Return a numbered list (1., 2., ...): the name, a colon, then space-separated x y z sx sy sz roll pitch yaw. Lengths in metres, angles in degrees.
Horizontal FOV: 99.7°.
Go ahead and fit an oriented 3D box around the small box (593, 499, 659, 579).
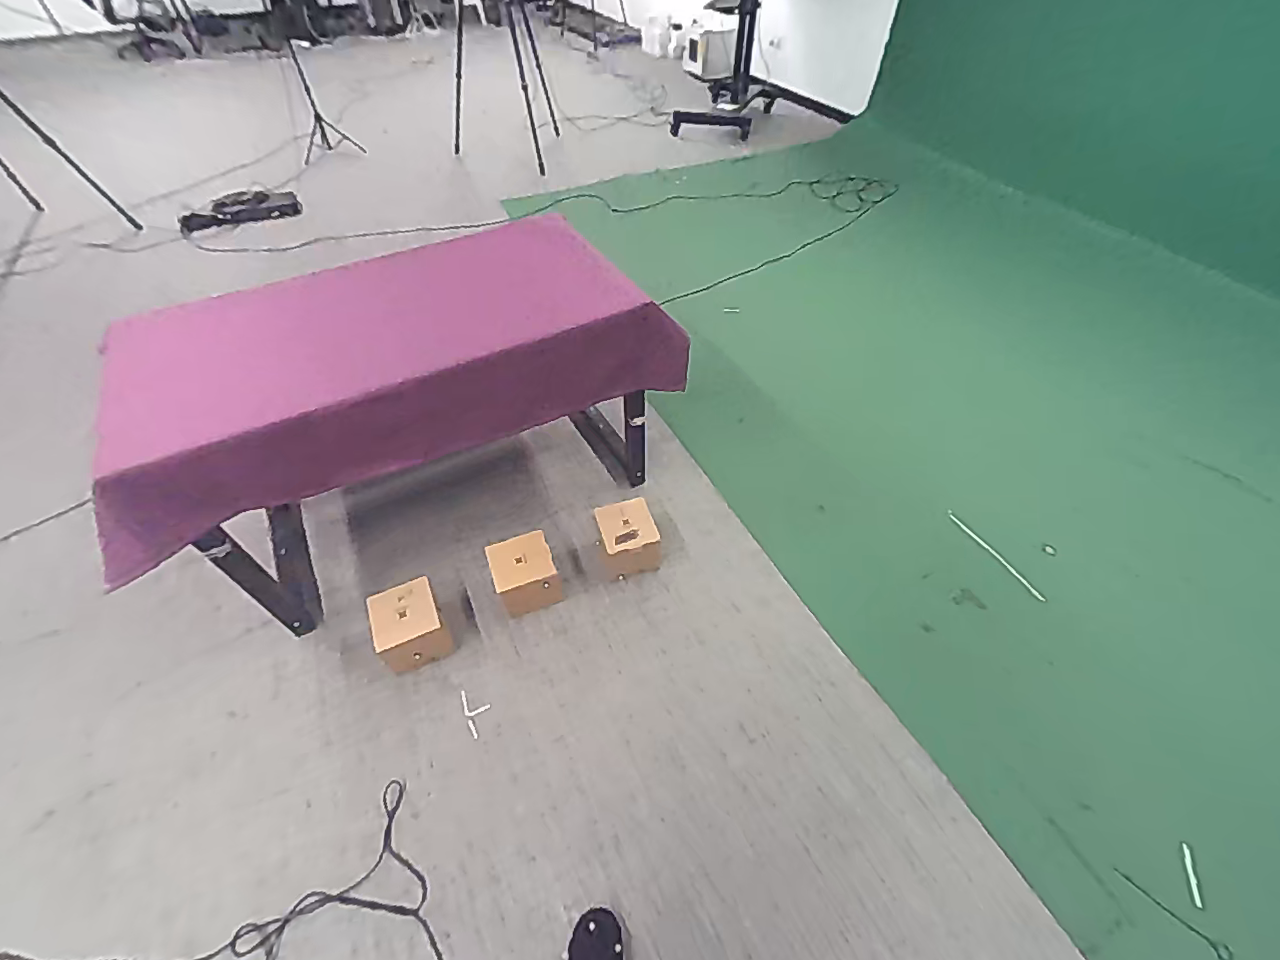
1. small box: -0.043 0.192 1.693 0.168 0.176 0.179 -14 50 -12
